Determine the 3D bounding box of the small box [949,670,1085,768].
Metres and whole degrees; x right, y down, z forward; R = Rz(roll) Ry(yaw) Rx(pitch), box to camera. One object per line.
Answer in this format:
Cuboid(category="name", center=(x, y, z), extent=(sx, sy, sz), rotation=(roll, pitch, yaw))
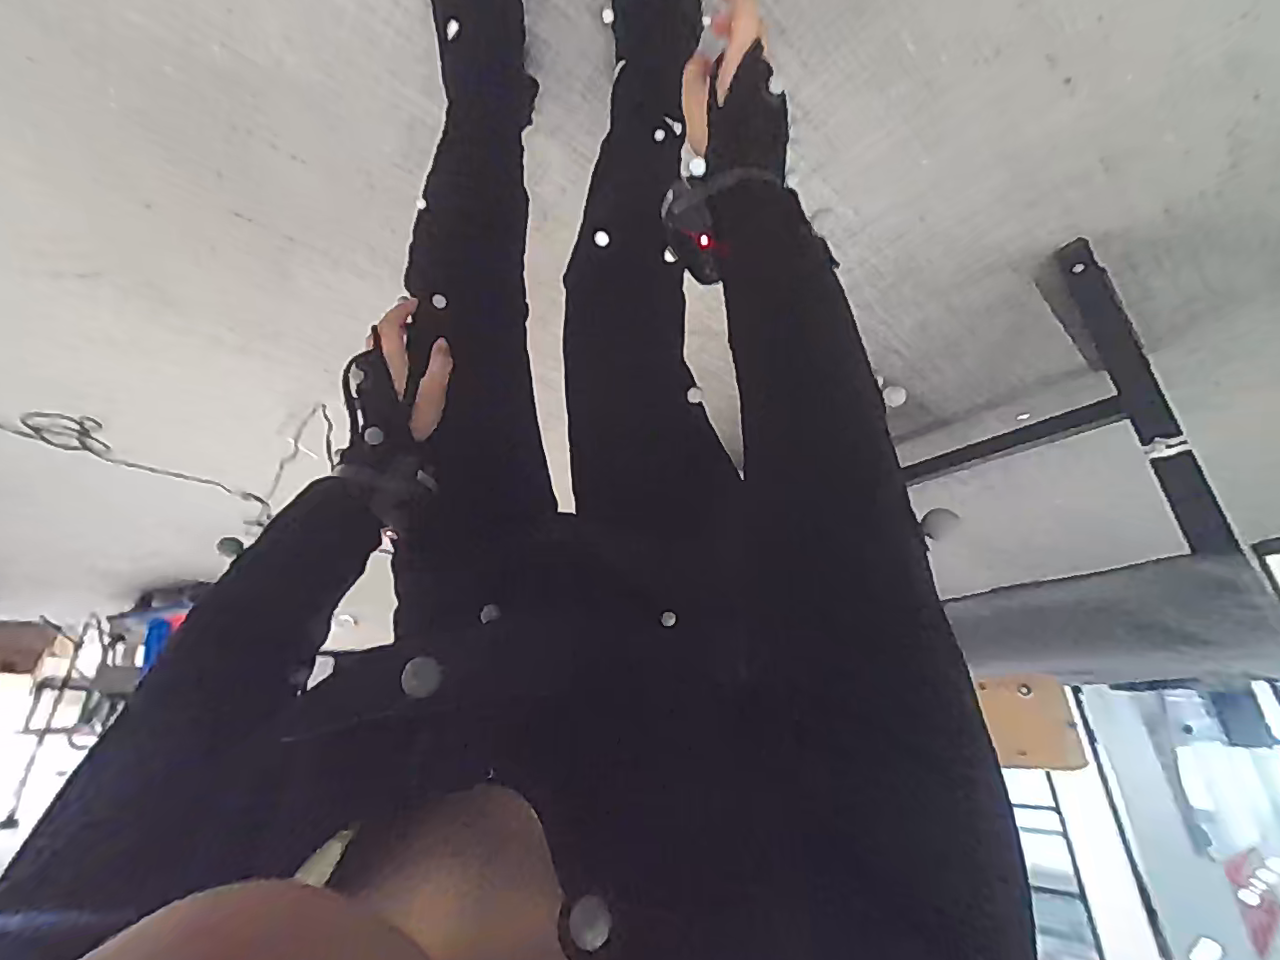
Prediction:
Cuboid(category="small box", center=(0.748, 0.475, 1.082), extent=(0.179, 0.176, 0.168), rotation=(20, 148, -40))
